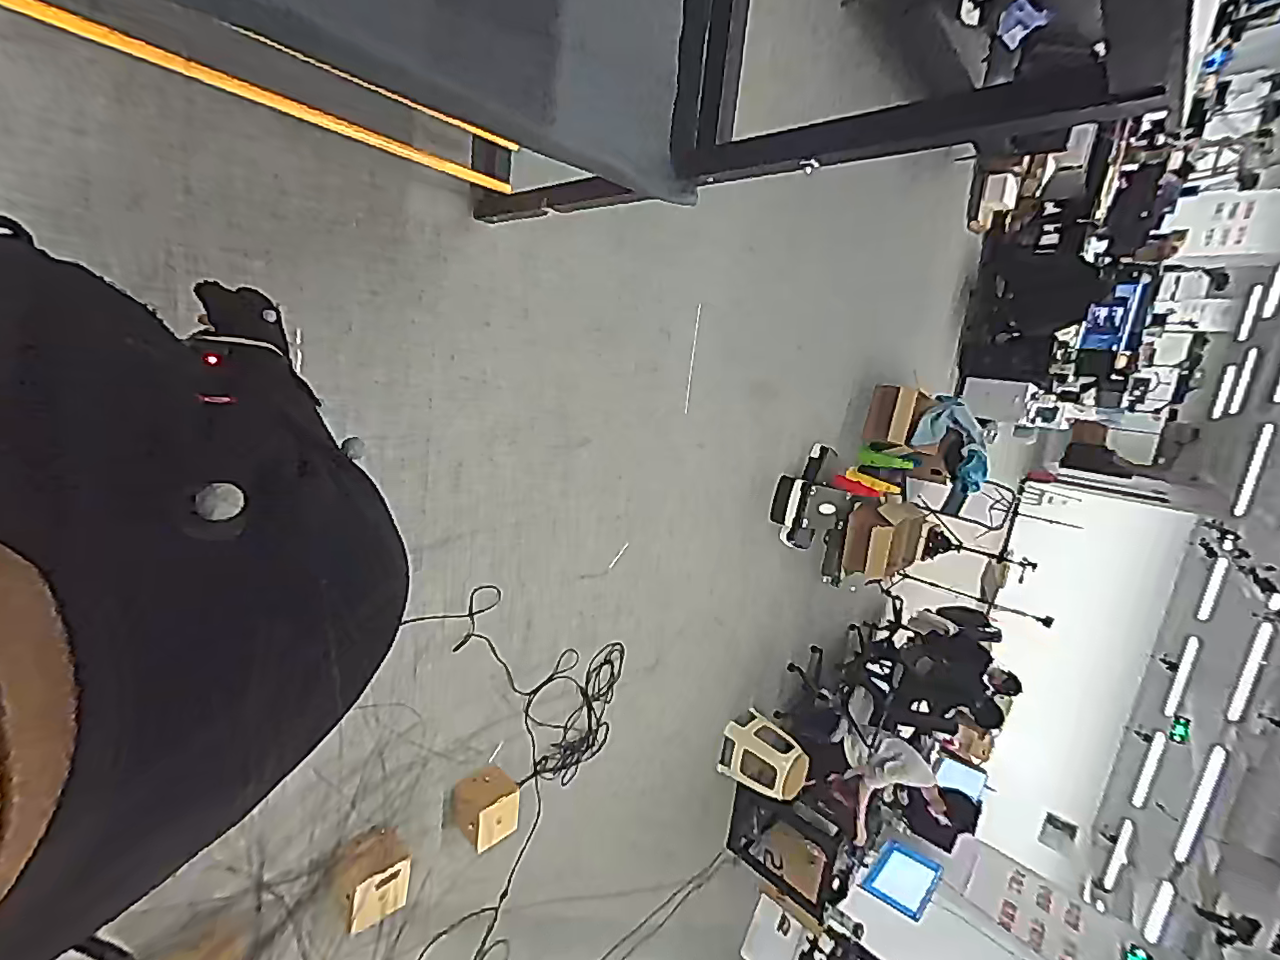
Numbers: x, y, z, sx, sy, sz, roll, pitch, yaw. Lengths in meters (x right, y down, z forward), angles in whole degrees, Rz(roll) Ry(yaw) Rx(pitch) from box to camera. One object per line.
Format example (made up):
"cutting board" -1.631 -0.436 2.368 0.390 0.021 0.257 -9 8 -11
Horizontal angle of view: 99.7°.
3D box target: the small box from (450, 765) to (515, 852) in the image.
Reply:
"small box" -0.576 1.185 1.964 0.168 0.176 0.179 -7 107 -47

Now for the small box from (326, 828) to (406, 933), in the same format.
"small box" -0.847 1.218 1.668 0.168 0.176 0.179 1 103 -49
